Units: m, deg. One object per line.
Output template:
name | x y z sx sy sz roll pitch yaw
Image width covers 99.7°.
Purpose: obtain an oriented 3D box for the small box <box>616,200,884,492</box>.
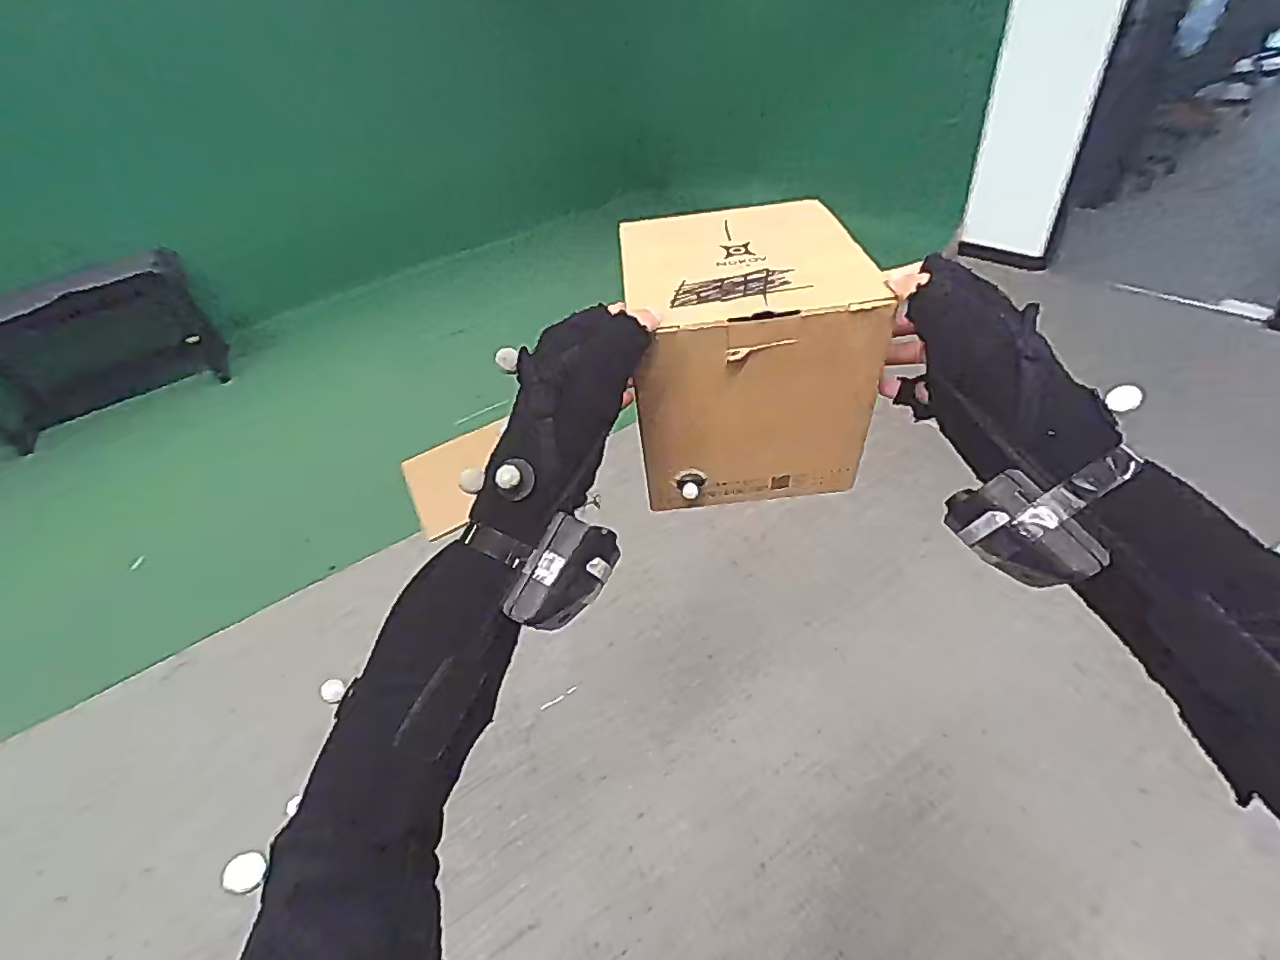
small box | 0.074 -0.103 0.443 0.168 0.176 0.179 -6 44 2
